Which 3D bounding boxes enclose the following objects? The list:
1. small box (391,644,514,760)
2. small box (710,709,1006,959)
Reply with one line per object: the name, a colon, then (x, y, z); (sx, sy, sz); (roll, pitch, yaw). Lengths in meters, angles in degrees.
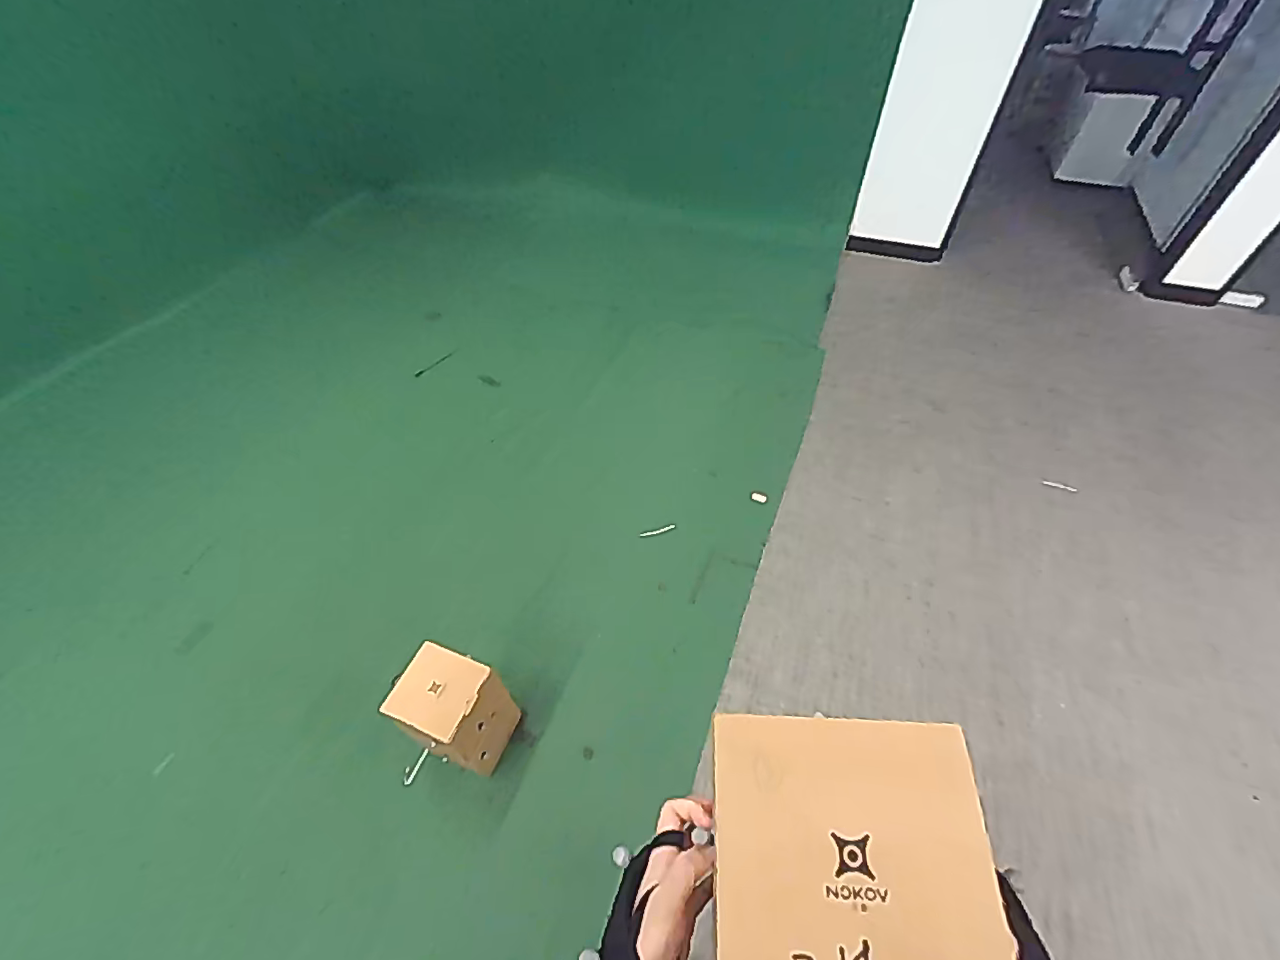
small box: (-0.411, 0.503, 1.216); (0.179, 0.176, 0.168); (16, 53, 15)
small box: (0.136, 0.279, 0.401); (0.168, 0.176, 0.179); (-1, 59, 8)
